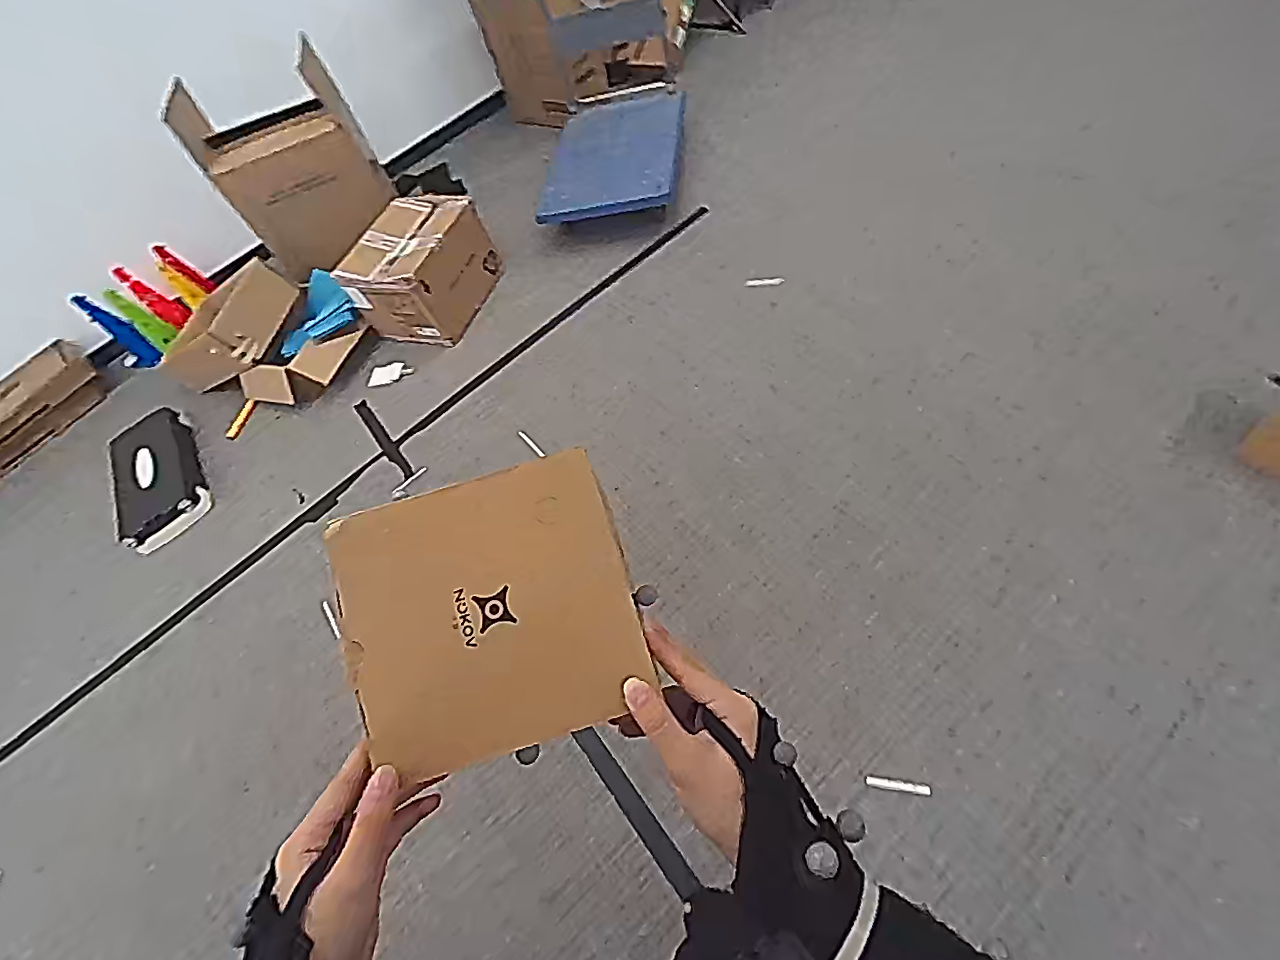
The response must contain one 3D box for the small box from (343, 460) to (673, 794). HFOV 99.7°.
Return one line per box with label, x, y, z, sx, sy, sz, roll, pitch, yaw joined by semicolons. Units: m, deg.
small box;-0.083;0.099;0.411;0.179;0.176;0.168;-17;79;-1
